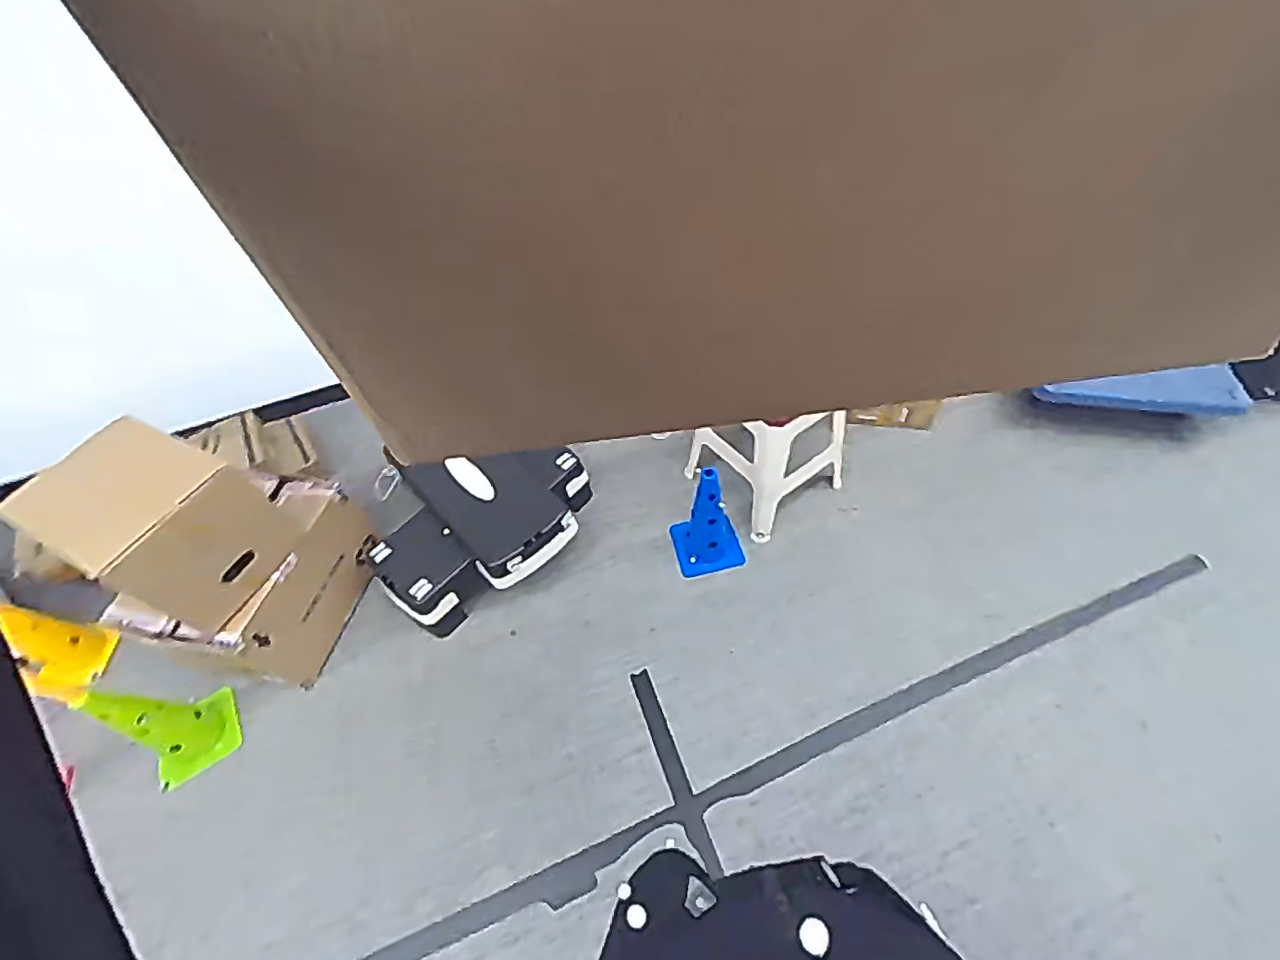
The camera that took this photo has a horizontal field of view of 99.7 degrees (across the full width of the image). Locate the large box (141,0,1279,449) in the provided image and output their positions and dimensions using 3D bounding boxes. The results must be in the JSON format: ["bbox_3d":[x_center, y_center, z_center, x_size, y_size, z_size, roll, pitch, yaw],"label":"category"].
[{"bbox_3d":[0.055,-0.245,0.249,0.408,0.320,0.320,-7,51,3],"label":"large box"}]
